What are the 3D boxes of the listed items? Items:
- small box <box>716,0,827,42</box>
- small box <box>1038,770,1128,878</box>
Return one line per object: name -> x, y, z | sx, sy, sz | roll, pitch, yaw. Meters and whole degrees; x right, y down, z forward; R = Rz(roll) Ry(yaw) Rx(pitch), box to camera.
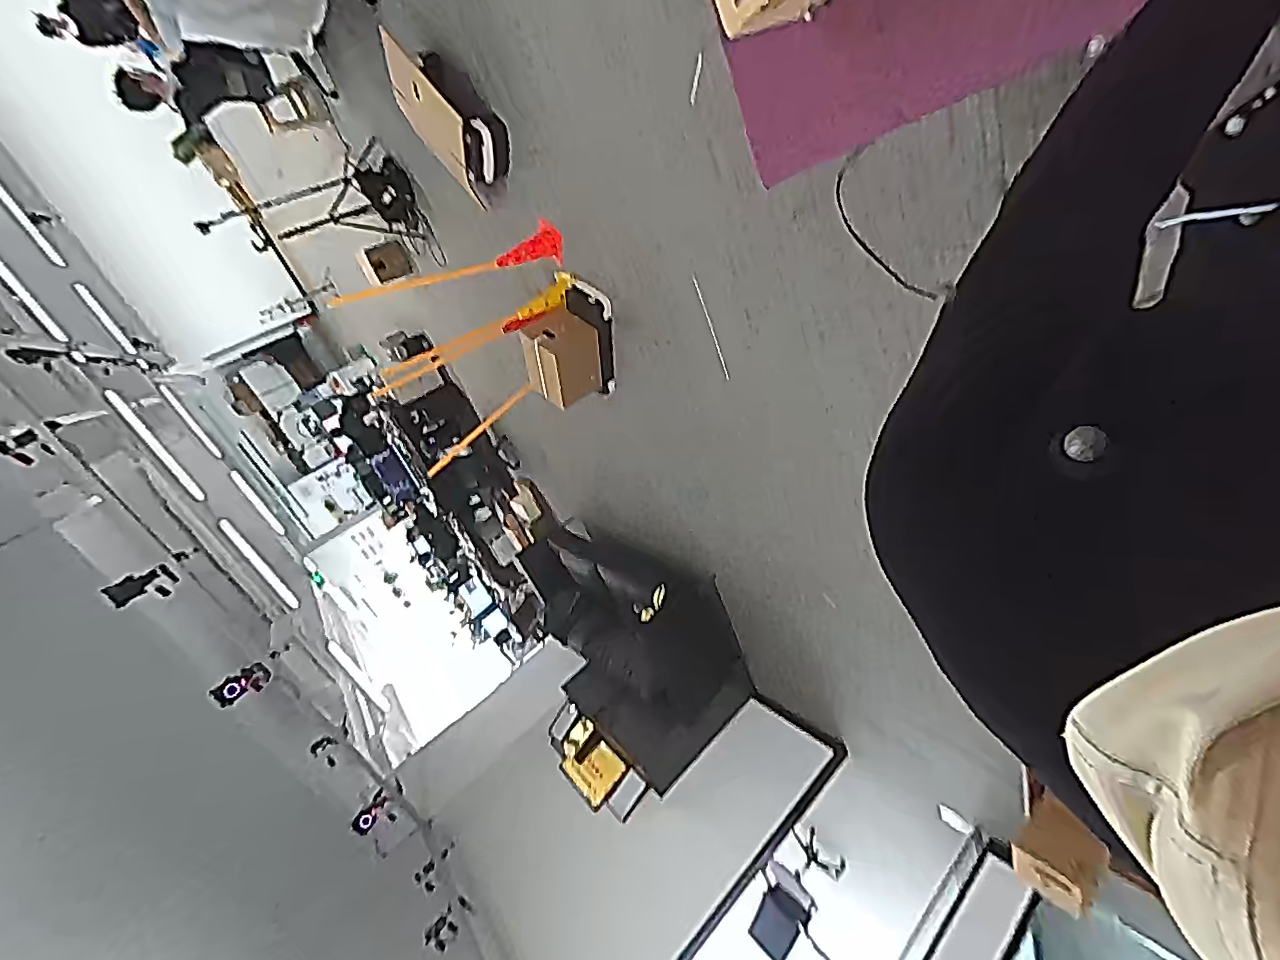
small box -> 0.192, -0.698, 0.669 | 0.168, 0.176, 0.179 | 10, 129, 56
small box -> 1.317, 1.017, 1.609 | 0.168, 0.176, 0.179 | 19, 137, 53
